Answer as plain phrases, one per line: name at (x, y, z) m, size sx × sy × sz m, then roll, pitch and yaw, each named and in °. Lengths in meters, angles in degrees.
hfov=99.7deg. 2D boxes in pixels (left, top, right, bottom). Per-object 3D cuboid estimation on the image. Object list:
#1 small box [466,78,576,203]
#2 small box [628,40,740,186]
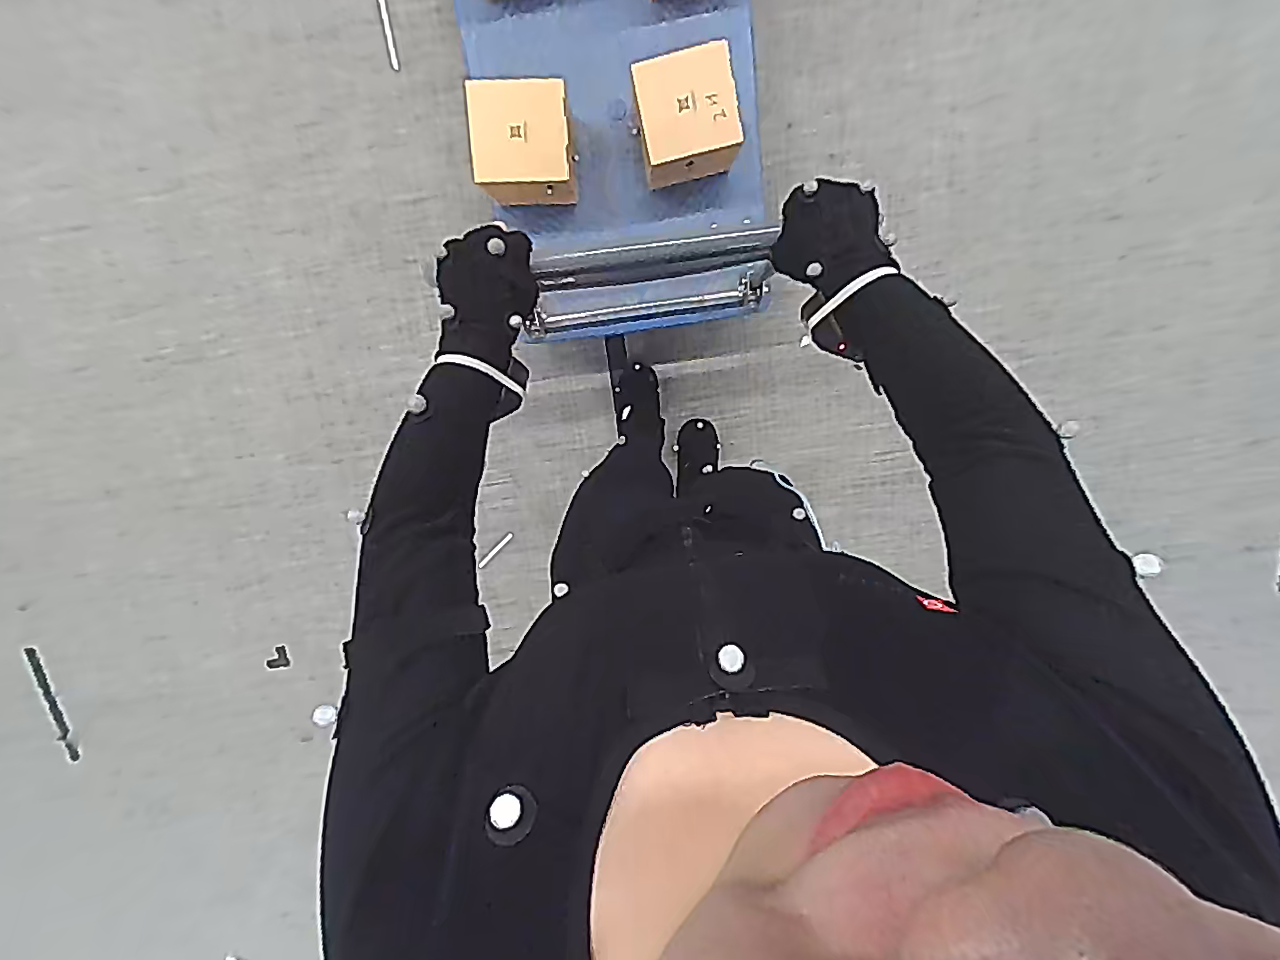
small box at (-0.222, -0.647, 1.051) m, size 0.179 × 0.176 × 0.168 m, roll -2°, pitch 104°, yaw -1°
small box at (0.081, -0.691, 1.042) m, size 0.179 × 0.176 × 0.168 m, roll -13°, pitch 104°, yaw 3°
